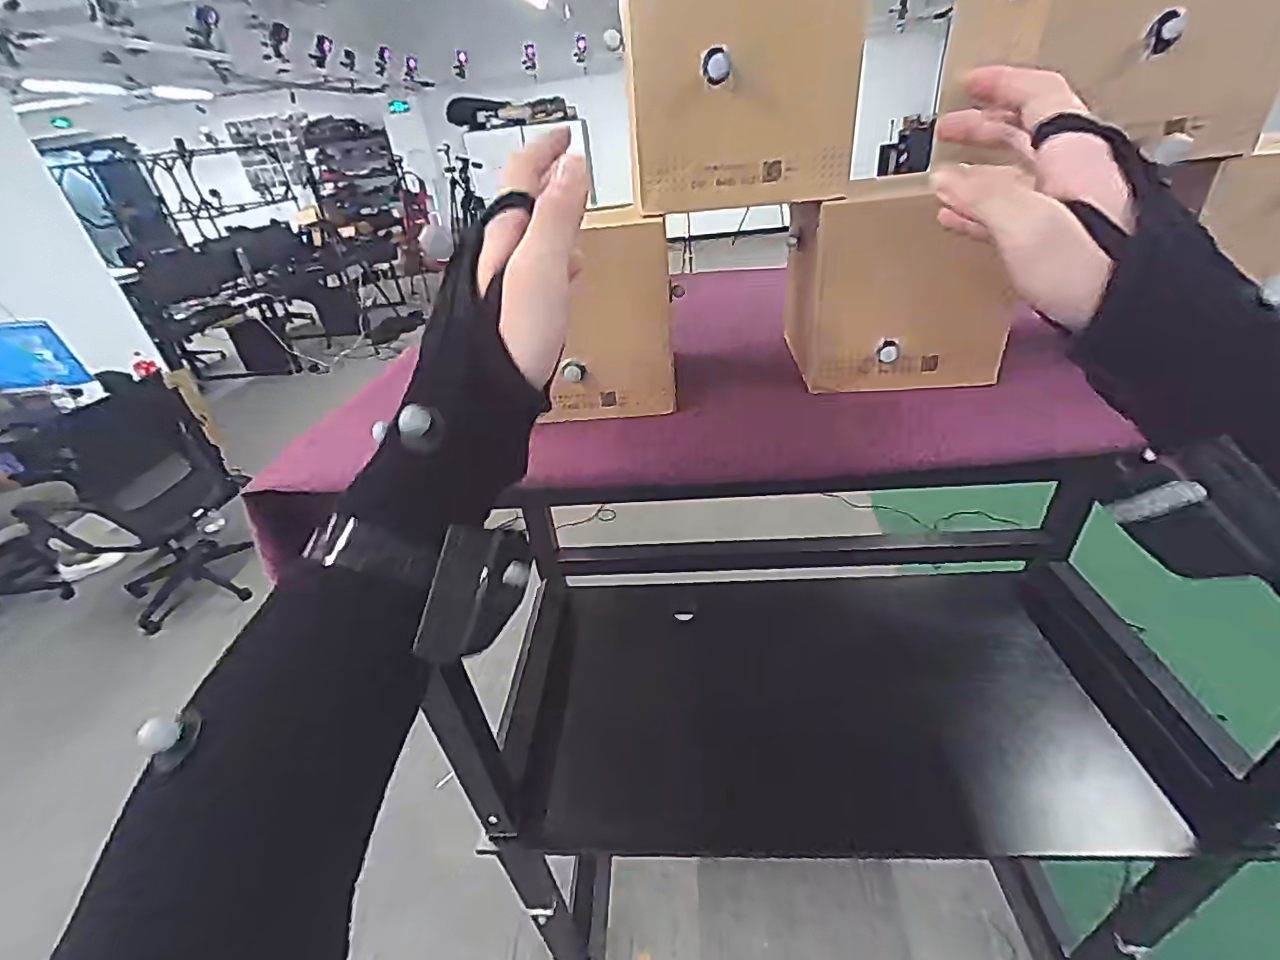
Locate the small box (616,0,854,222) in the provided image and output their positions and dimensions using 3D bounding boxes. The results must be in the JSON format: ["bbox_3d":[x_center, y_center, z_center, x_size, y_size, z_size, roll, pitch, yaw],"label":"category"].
[{"bbox_3d":[0.071,-0.319,0.457,0.168,0.176,0.179,-5,31,1],"label":"small box"}]

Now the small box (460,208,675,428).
[{"bbox_3d":[-0.054,-0.165,0.538,0.168,0.176,0.179,-3,33,5],"label":"small box"}]

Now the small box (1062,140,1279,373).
[{"bbox_3d":[0.528,-0.204,0.491,0.168,0.176,0.179,0,32,14],"label":"small box"}]

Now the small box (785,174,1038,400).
[{"bbox_3d":[0.236,-0.190,0.528,0.168,0.176,0.179,-2,33,9],"label":"small box"}]

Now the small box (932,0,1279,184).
[{"bbox_3d":[0.357,-0.339,0.429,0.168,0.176,0.179,-2,32,8],"label":"small box"}]
